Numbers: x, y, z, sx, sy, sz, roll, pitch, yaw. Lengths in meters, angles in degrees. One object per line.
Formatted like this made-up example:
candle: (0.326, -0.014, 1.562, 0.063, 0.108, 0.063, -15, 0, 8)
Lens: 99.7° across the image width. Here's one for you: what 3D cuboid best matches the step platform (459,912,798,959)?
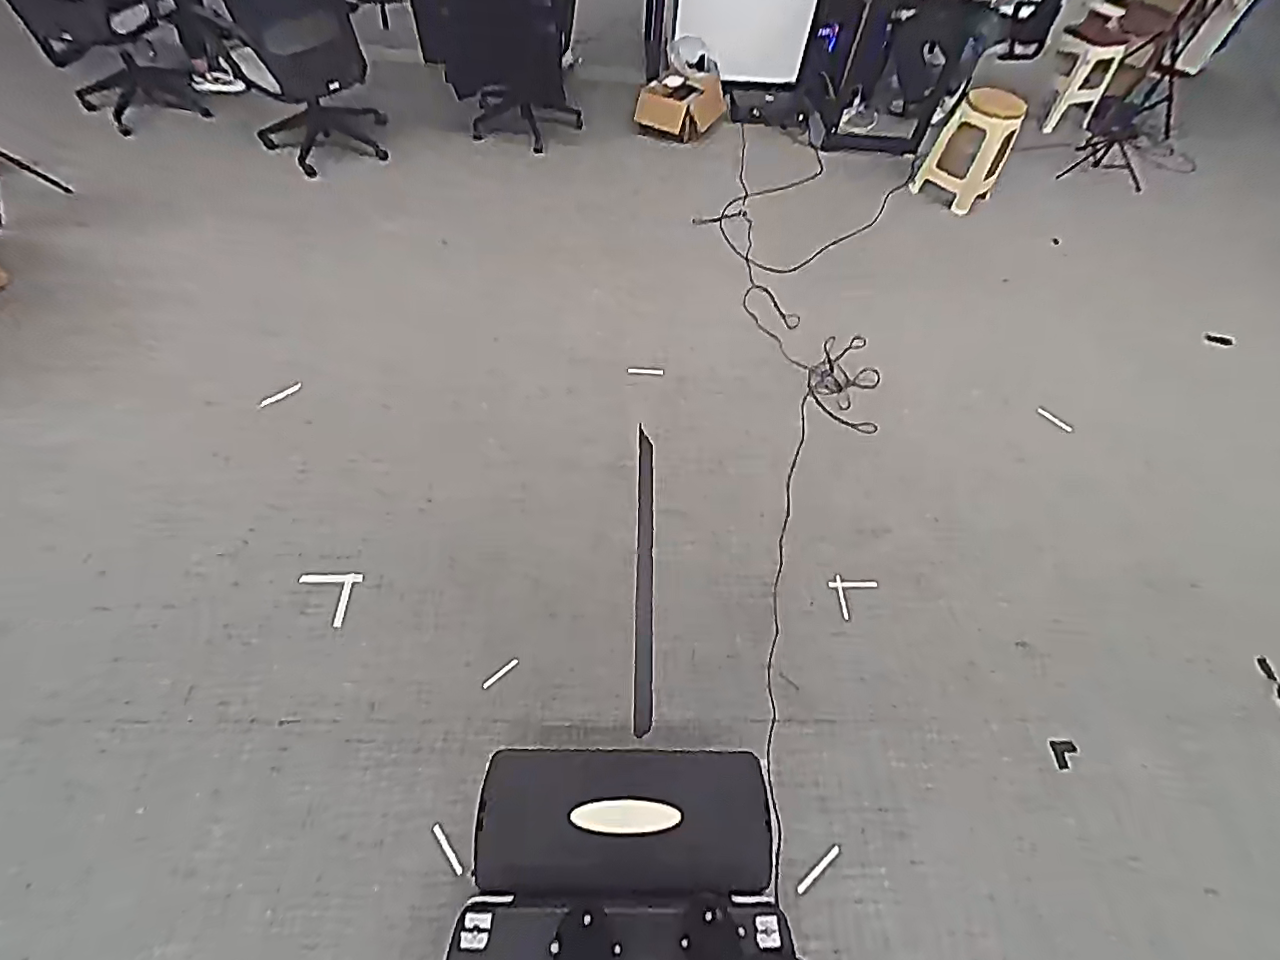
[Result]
step platform: (-0.022, 1.031, 1.024, 0.684, 0.204, 0.286, 5, 54, 1)
